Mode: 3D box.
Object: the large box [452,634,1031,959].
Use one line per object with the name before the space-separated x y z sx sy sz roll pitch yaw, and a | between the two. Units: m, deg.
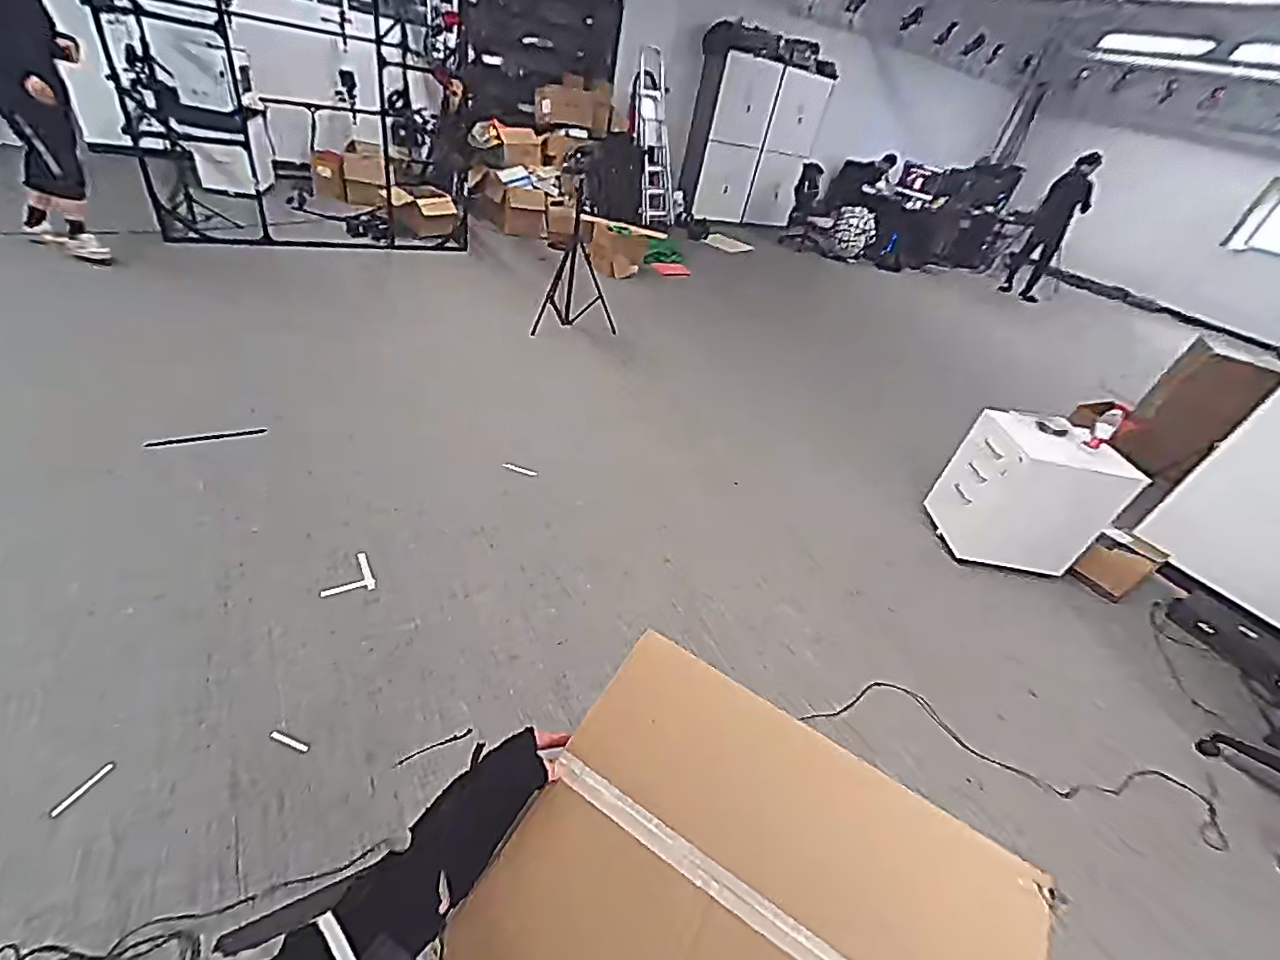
large box | 0.086 0.442 0.560 0.408 0.320 0.320 28 54 18
